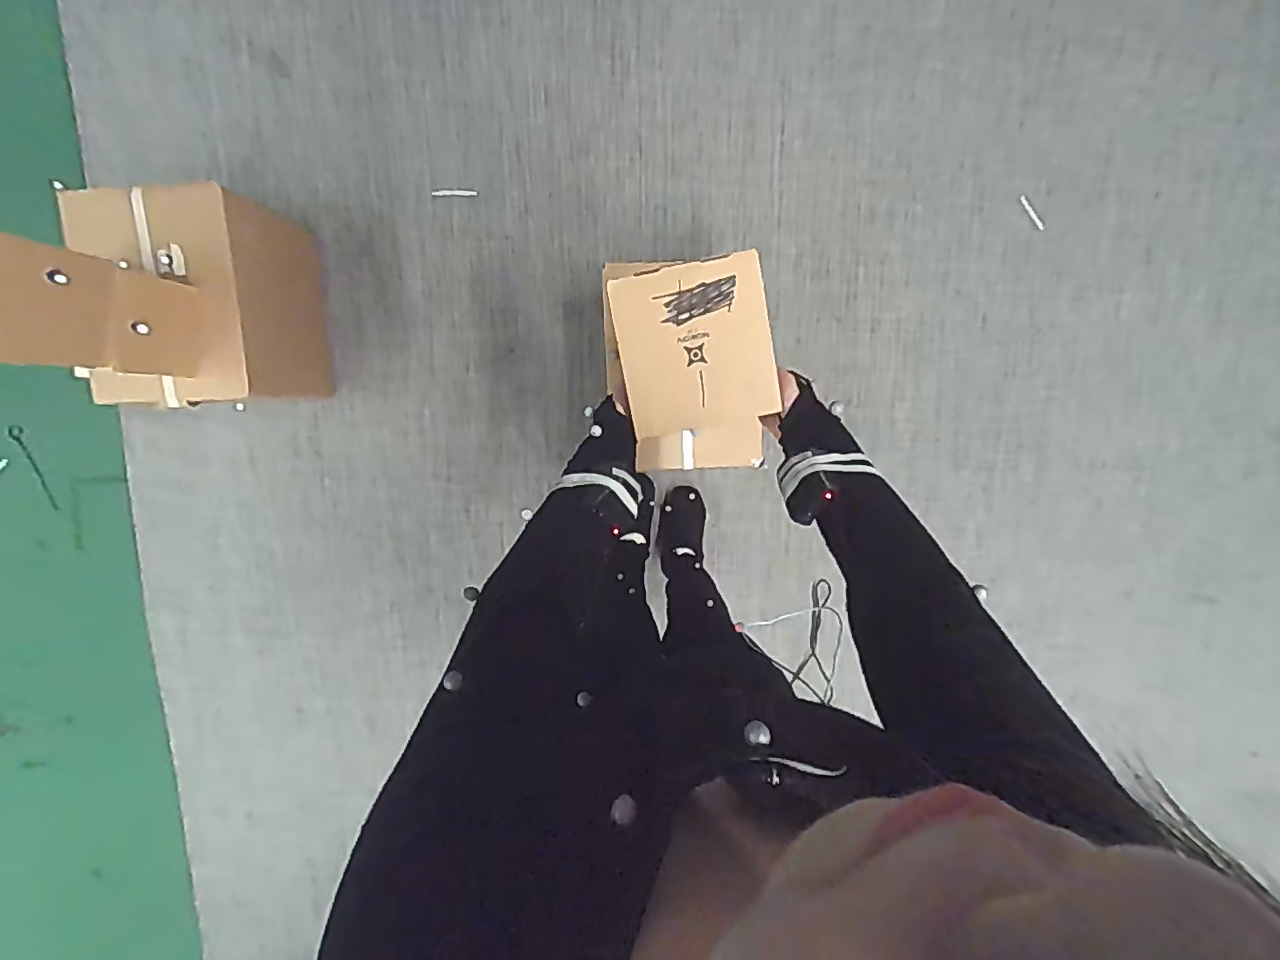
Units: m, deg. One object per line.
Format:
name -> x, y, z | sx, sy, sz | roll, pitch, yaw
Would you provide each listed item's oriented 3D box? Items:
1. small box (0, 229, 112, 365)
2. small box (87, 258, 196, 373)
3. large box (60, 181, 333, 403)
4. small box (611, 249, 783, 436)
small box -> -0.939, -0.275, 0.797 | 0.168, 0.176, 0.179 | 12, 100, -1
small box -> -0.935, -0.291, 0.960 | 0.168, 0.176, 0.179 | 9, 99, -2
large box -> -0.932, -0.379, 1.191 | 0.320, 0.320, 0.408 | -2, 98, 0
small box -> 0.062, -0.157, 0.660 | 0.168, 0.176, 0.179 | -11, 99, 3
